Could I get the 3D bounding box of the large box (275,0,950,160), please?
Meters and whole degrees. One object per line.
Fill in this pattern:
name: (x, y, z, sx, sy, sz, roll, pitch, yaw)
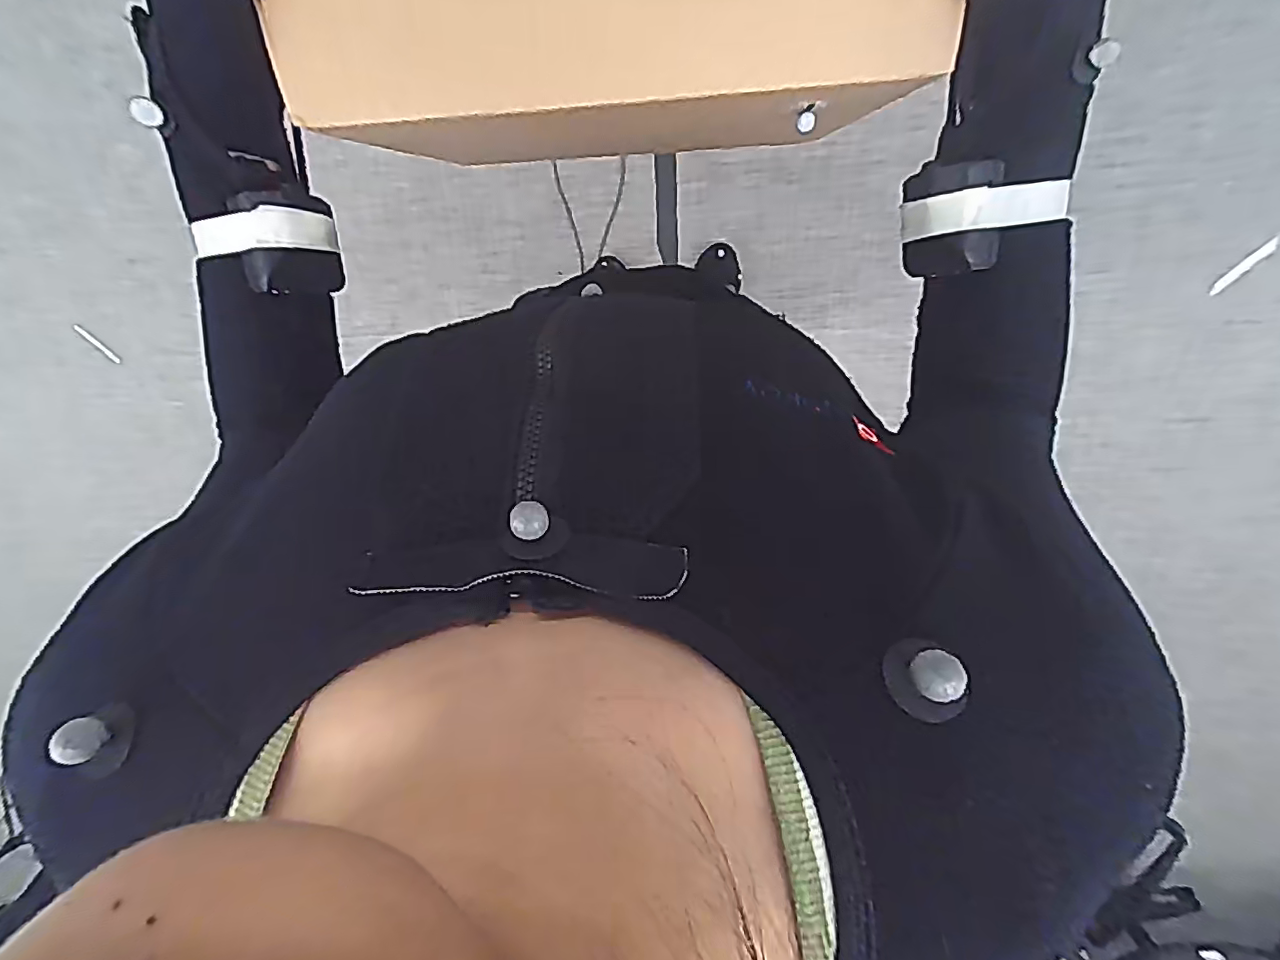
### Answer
large box: (-0.020, -0.440, 0.405, 0.408, 0.320, 0.320, -2, 116, 3)
